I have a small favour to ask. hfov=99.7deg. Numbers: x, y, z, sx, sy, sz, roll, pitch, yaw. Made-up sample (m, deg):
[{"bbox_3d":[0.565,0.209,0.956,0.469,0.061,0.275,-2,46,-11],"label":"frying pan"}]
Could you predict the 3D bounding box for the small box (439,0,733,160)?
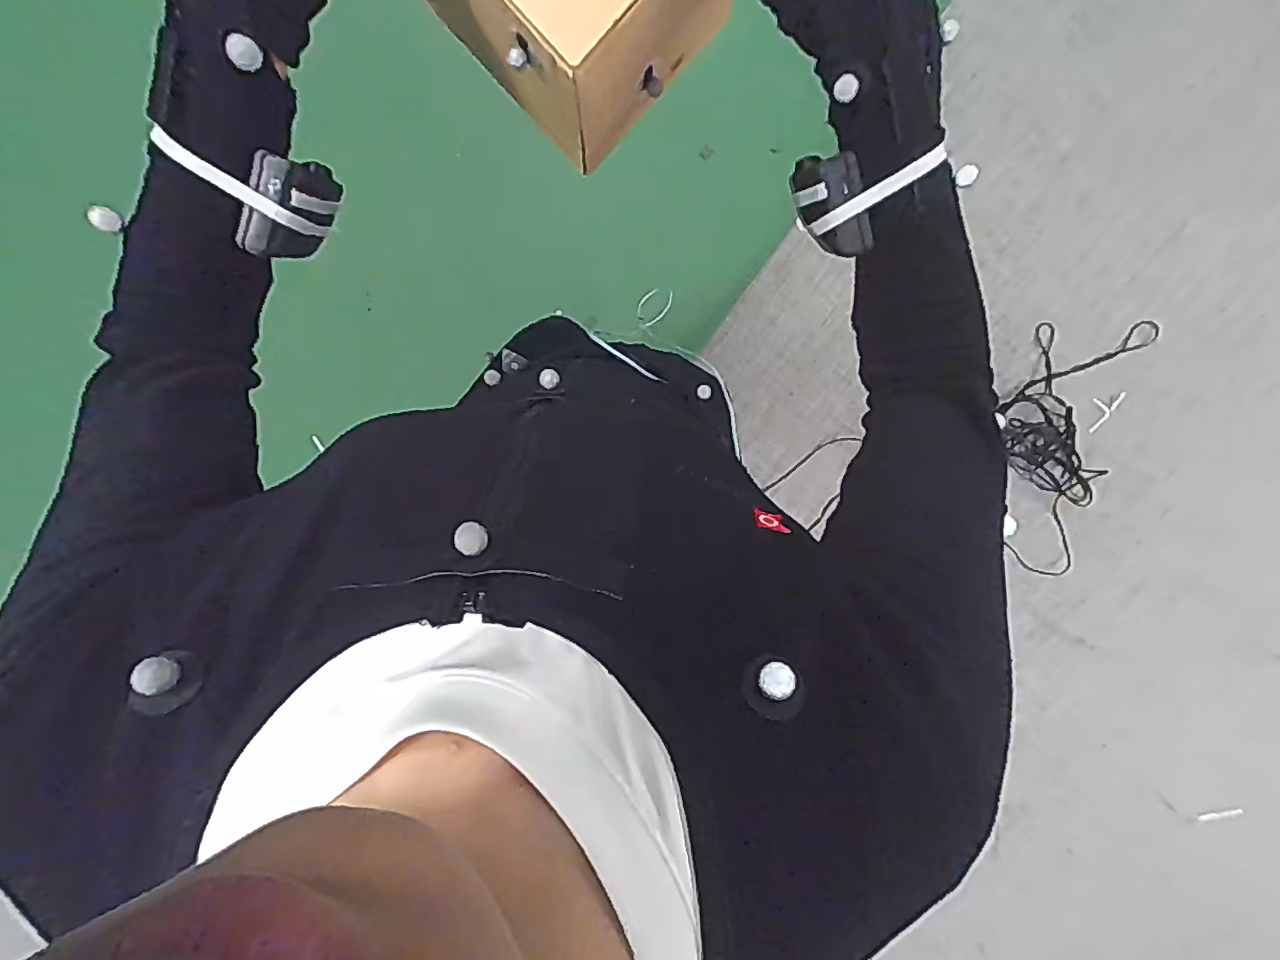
[{"bbox_3d":[-0.041,-0.359,0.356,0.179,0.176,0.168,44,96,-12],"label":"small box"}]
